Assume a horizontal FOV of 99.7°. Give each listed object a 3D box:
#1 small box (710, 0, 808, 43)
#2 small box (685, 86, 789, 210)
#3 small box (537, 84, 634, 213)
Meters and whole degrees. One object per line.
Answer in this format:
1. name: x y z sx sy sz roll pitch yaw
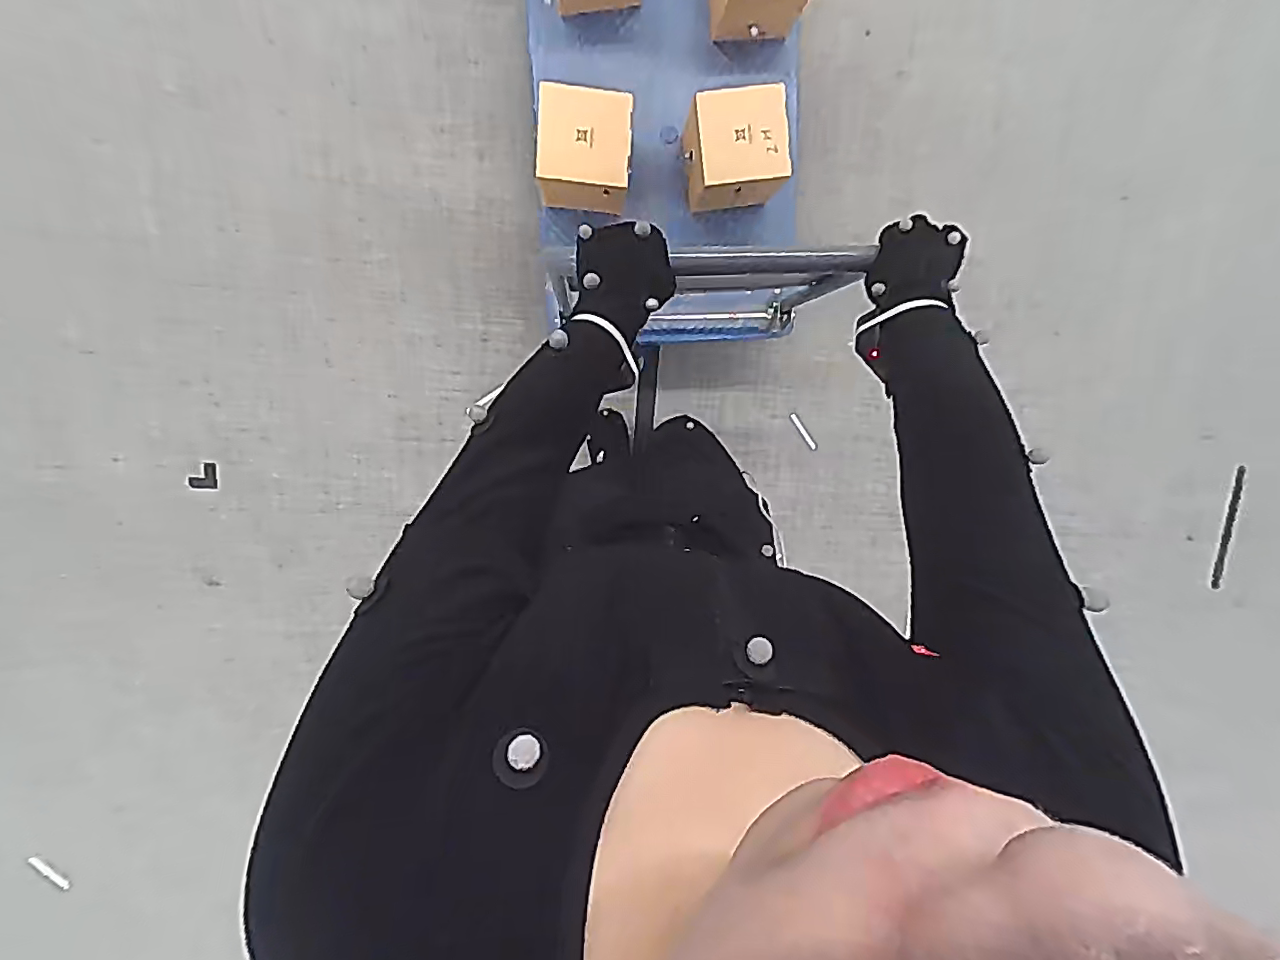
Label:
1. small box: 0.233 -1.008 1.064 0.168 0.176 0.179 -6 102 -4
2. small box: 0.192 -0.676 1.121 0.179 0.176 0.168 -8 101 -3
3. small box: -0.111 -0.660 1.098 0.179 0.176 0.168 3 100 -7
